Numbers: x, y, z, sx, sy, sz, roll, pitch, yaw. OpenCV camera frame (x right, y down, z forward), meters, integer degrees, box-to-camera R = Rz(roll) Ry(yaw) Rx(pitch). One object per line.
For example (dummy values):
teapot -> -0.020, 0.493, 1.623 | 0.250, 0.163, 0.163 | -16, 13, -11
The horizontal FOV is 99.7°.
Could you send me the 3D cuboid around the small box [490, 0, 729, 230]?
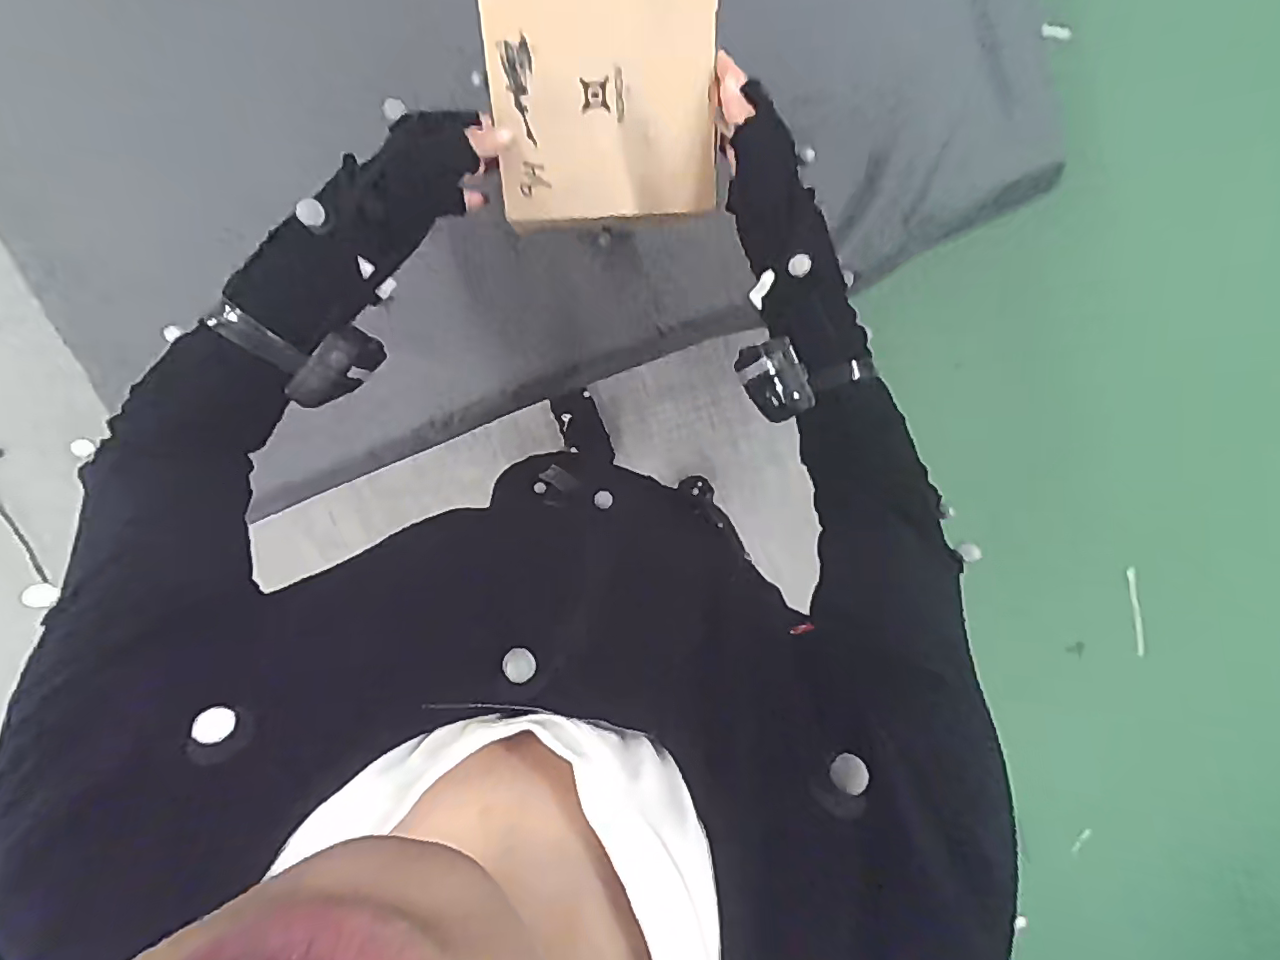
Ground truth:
small box -> -0.030, -0.321, 0.484 | 0.179, 0.176, 0.168 | -4, 111, -6
